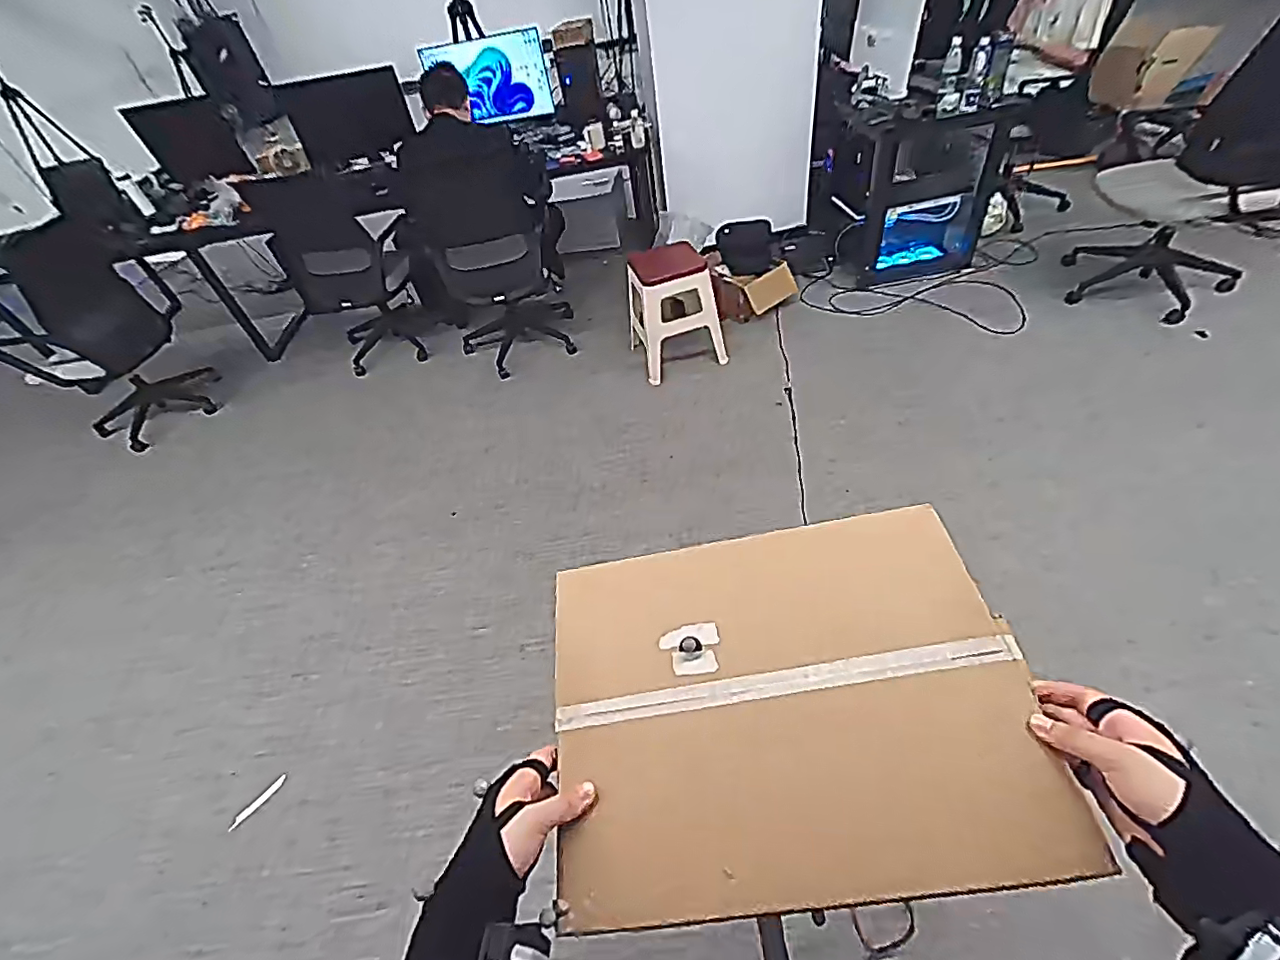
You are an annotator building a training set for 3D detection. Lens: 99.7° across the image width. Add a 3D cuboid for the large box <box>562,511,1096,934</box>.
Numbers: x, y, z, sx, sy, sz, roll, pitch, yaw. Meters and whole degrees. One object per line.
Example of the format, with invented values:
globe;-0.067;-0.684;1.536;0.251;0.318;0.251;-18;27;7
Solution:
large box;0.155;0.281;0.612;0.408;0.320;0.320;-13;50;7
